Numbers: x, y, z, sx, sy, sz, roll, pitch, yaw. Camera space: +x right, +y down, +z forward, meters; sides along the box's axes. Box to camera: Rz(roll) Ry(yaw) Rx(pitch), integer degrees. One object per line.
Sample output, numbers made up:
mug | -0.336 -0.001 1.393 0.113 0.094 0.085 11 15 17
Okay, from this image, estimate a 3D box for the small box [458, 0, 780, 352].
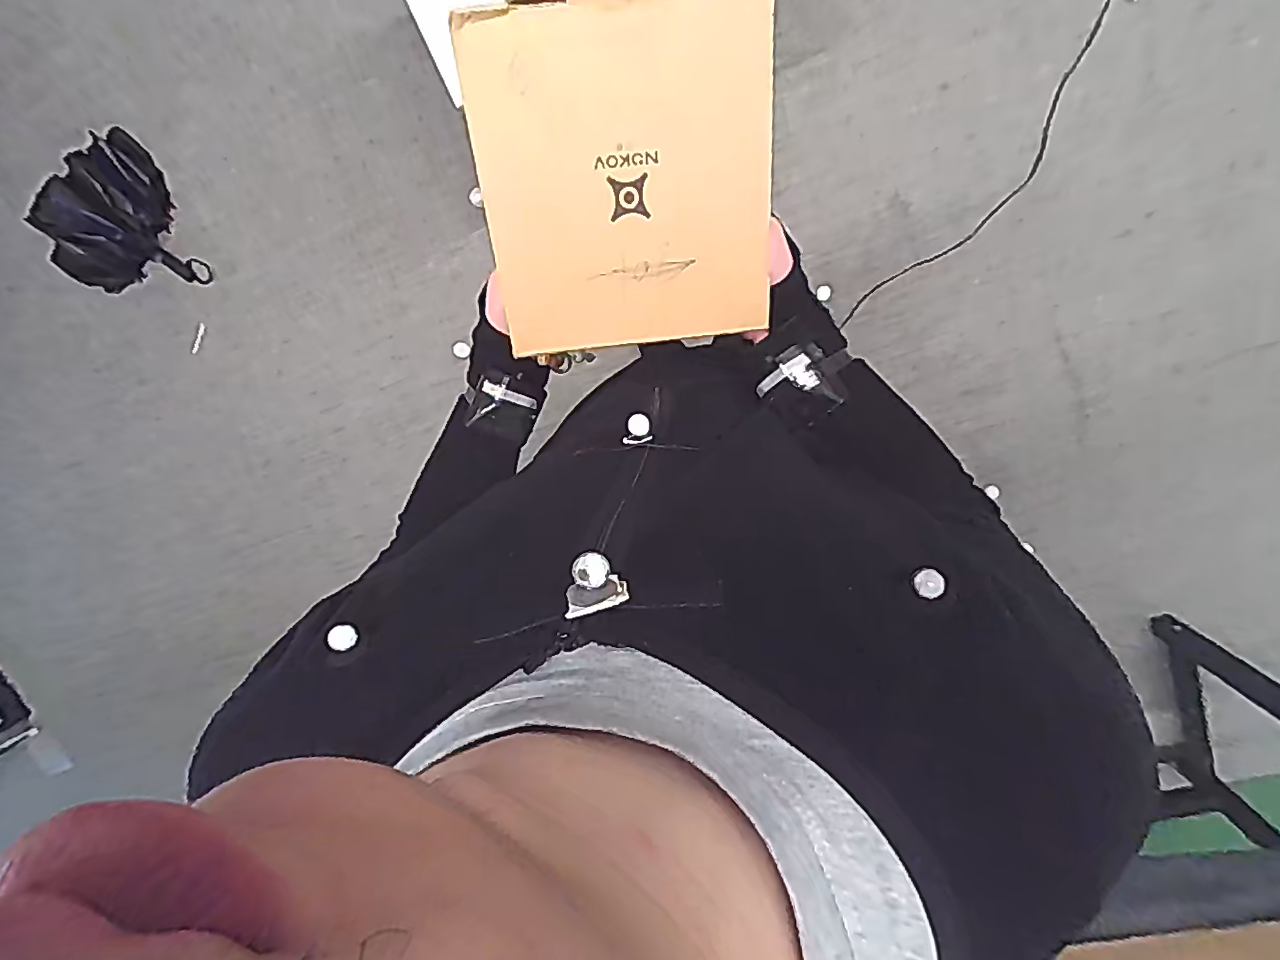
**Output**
small box | -0.009 -0.201 0.375 0.168 0.176 0.179 -7 117 0
